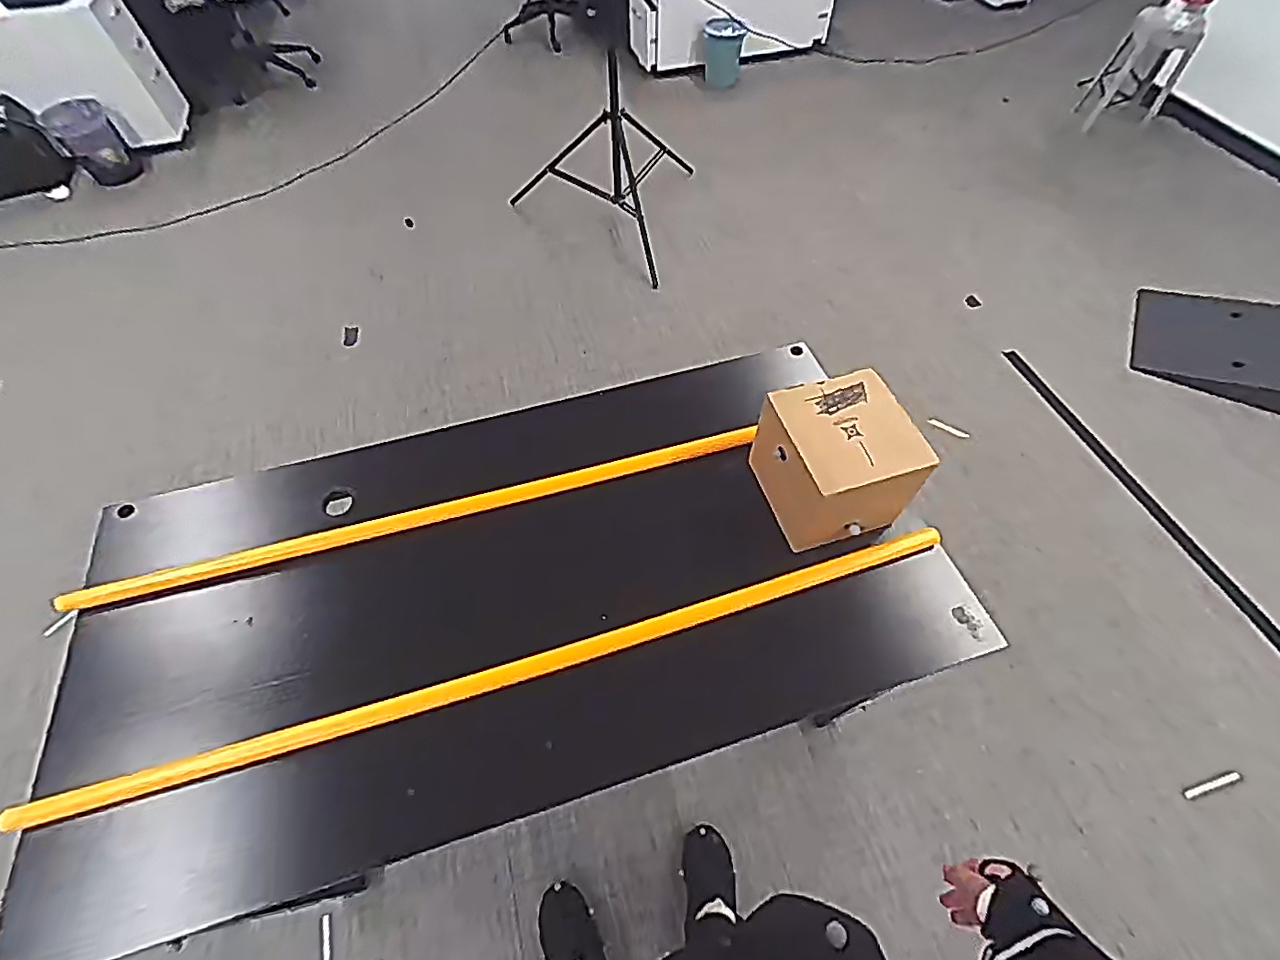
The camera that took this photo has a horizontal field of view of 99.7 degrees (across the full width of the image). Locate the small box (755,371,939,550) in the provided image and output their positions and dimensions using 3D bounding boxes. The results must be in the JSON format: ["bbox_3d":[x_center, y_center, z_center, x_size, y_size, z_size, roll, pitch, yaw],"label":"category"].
[{"bbox_3d":[0.281,-0.024,0.784,0.168,0.176,0.179,-15,59,-7],"label":"small box"}]
